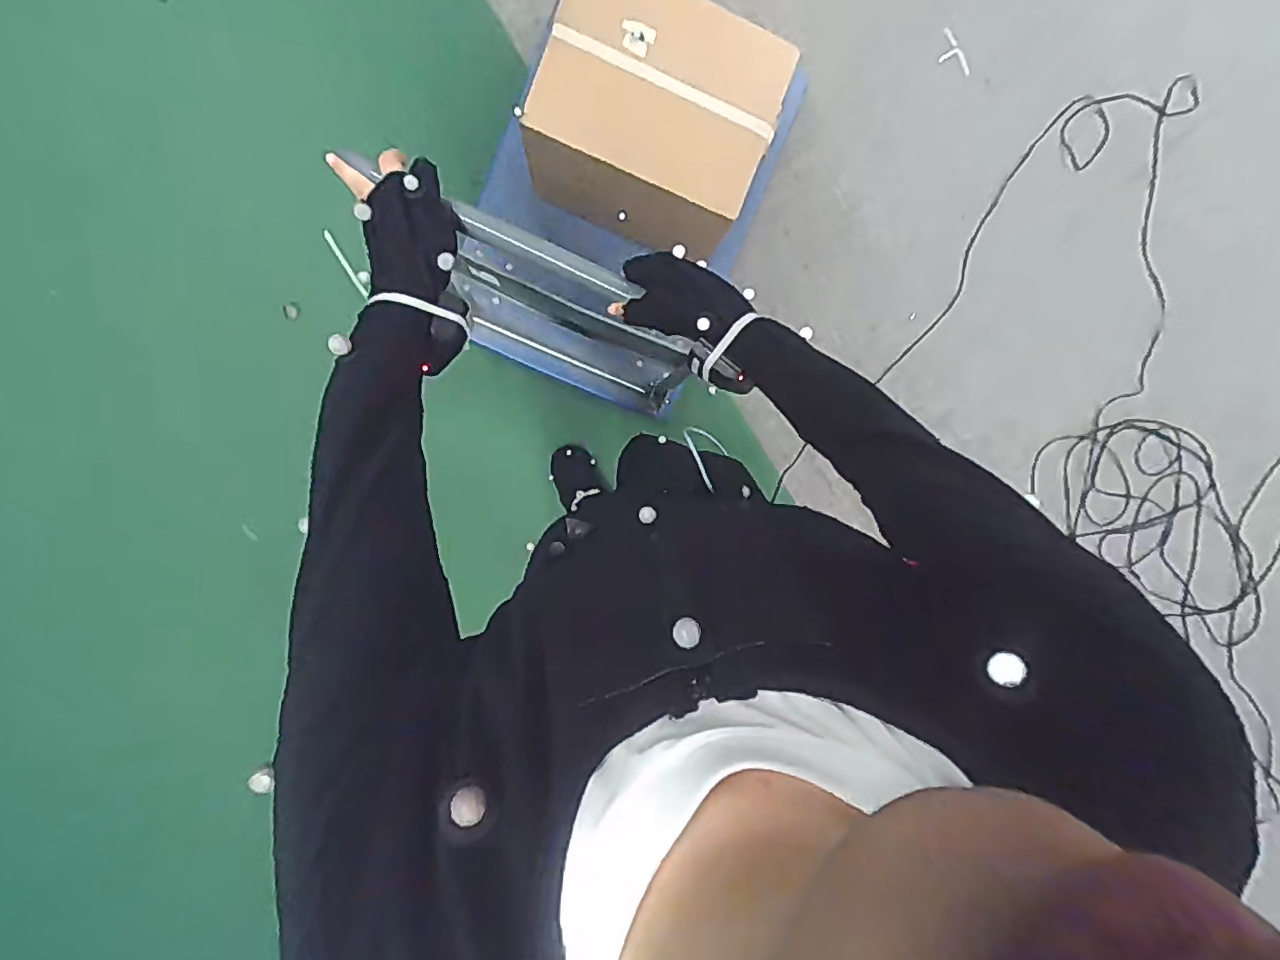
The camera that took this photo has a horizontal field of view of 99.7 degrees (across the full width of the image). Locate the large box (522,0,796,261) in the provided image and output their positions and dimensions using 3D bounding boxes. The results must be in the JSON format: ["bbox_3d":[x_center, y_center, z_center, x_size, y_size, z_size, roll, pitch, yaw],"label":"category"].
[{"bbox_3d":[0.026,-0.692,1.074,0.408,0.320,0.320,21,93,-7],"label":"large box"}]
